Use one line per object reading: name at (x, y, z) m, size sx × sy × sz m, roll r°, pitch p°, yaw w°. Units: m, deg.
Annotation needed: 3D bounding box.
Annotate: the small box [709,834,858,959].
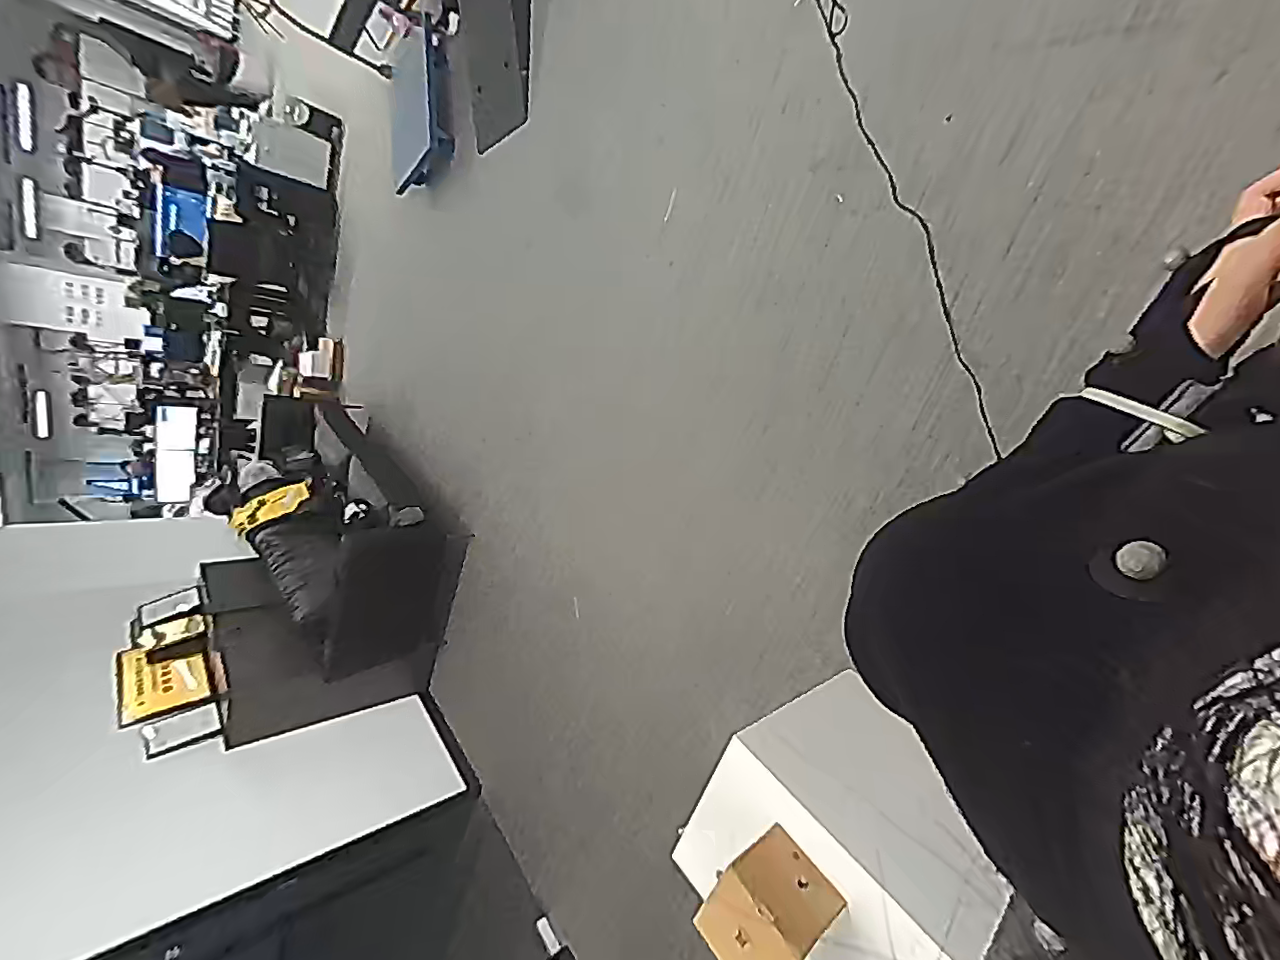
small box at (0.260, 0.797, 0.977) m, size 0.168 × 0.176 × 0.179 m, roll 38°, pitch 117°, yaw 39°
